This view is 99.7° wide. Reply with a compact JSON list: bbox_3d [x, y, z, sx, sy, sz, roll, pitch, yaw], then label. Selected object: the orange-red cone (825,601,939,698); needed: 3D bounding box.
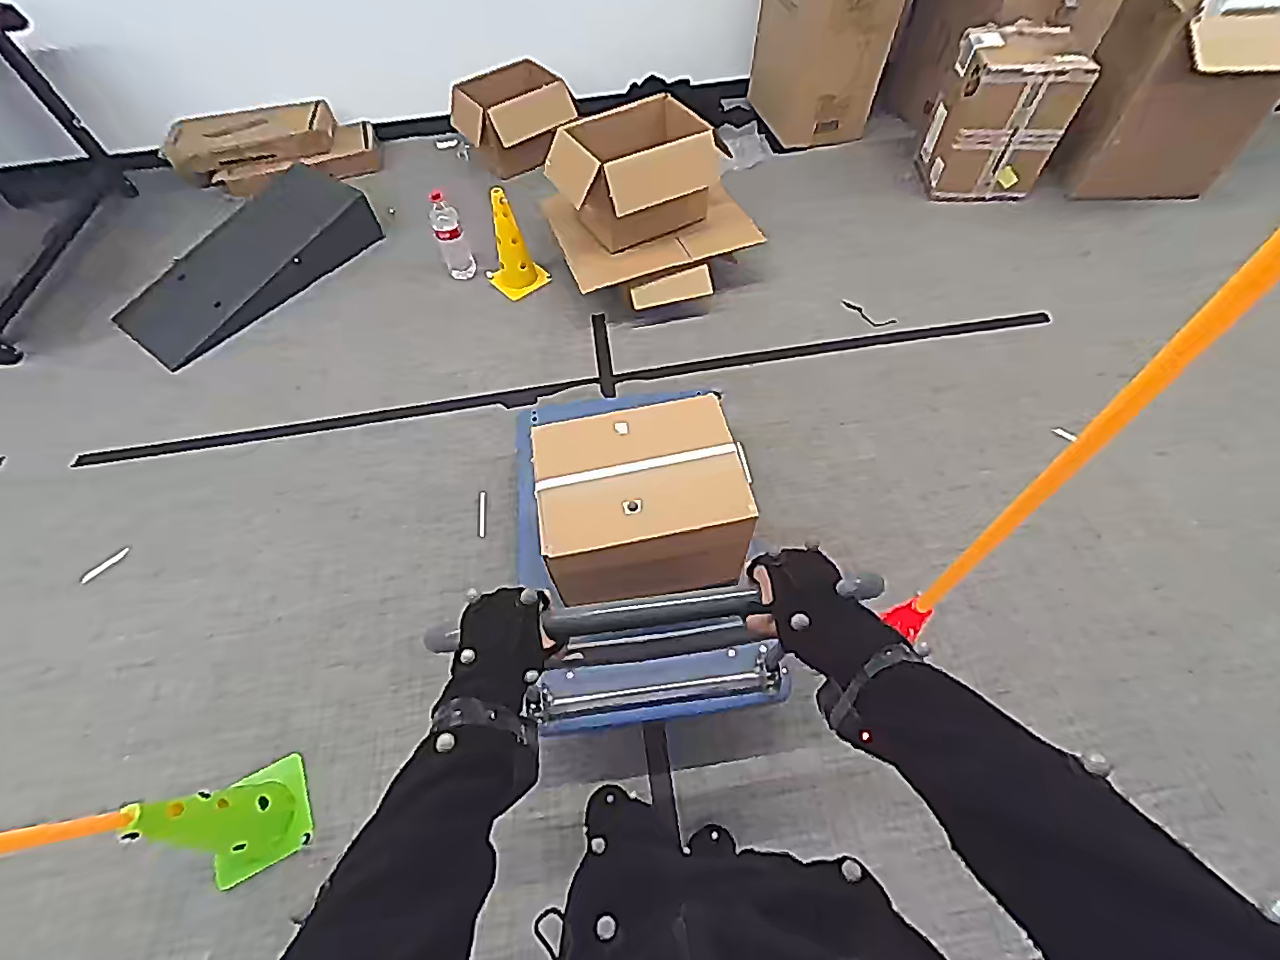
[{"bbox_3d":[0.558,0.338,1.175,0.199,0.360,0.198,-2,58,0],"label":"orange-red cone"}]
